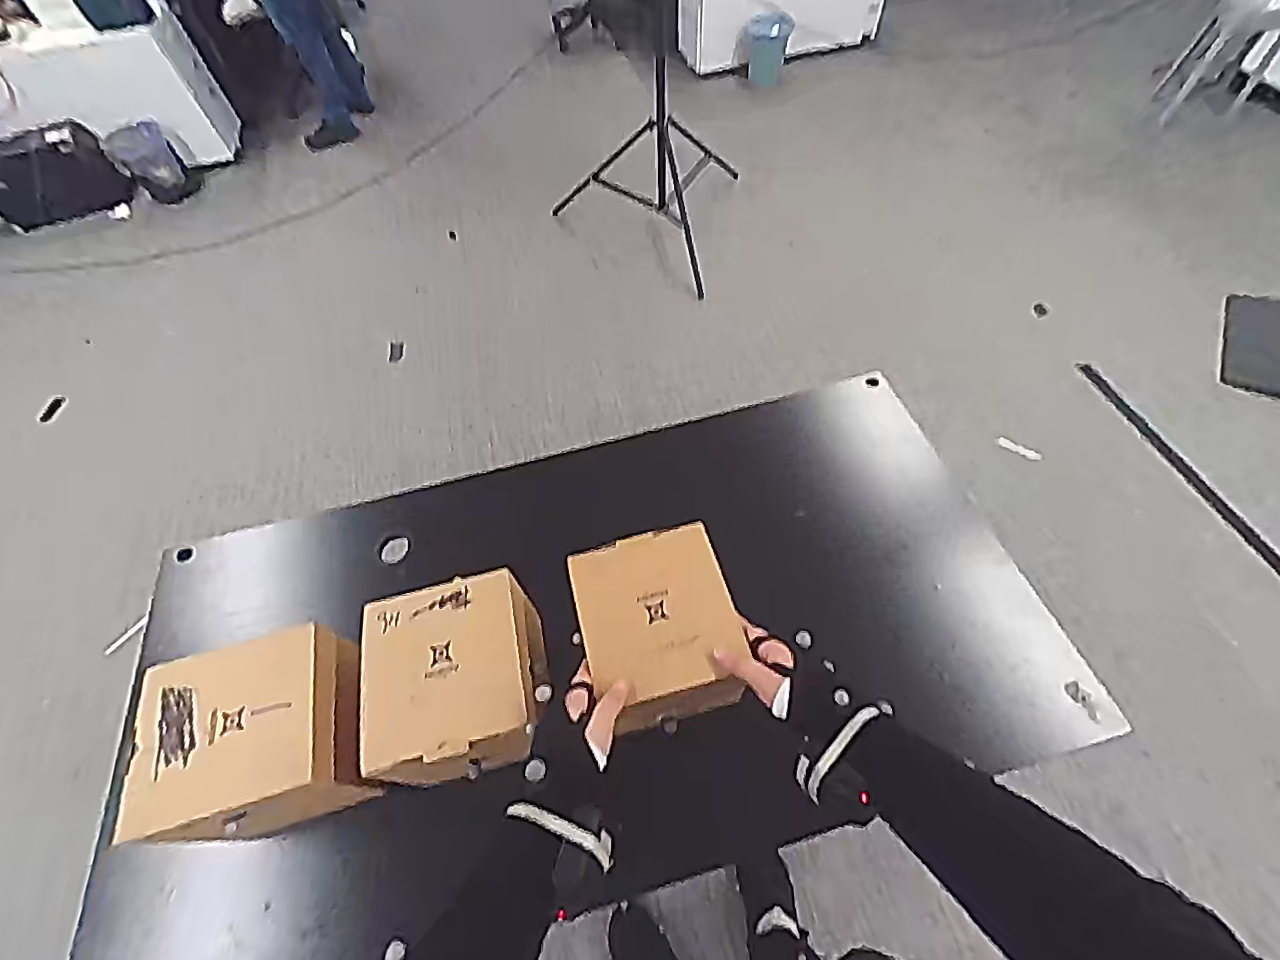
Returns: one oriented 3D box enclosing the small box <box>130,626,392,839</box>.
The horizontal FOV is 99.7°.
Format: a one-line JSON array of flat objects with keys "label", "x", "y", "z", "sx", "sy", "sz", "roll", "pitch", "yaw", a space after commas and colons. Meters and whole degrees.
[{"label": "small box", "x": -0.410, "y": 0.293, "z": 0.621, "sx": 0.179, "sy": 0.176, "sz": 0.168, "roll": -15, "pitch": 58, "yaw": -7}]
